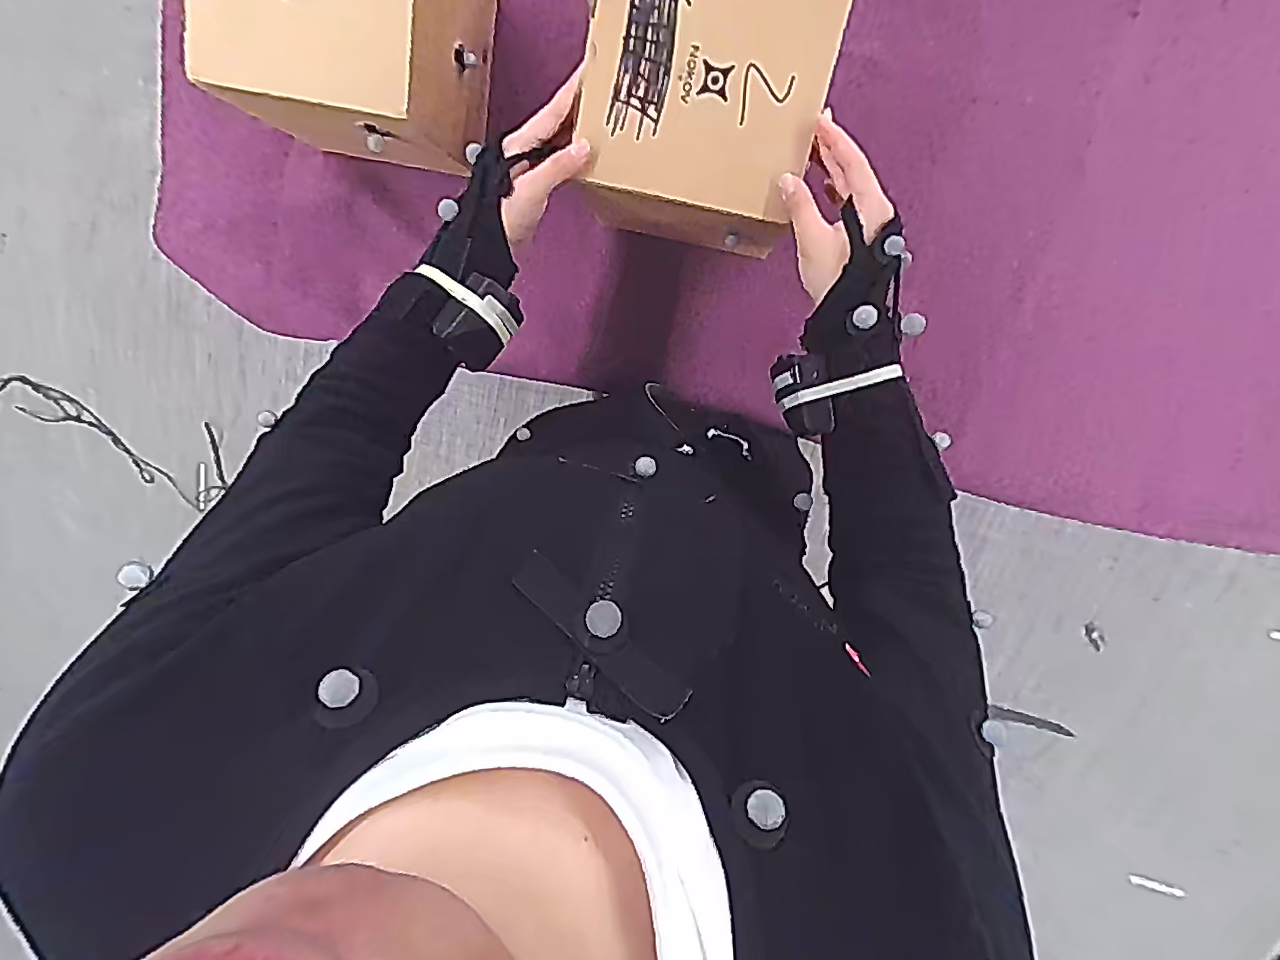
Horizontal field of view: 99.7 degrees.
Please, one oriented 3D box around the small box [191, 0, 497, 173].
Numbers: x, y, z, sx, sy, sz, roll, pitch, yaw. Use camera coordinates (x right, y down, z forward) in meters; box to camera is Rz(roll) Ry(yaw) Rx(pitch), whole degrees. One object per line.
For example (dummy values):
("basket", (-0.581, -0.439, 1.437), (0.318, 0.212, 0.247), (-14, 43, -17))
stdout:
("small box", (-0.237, -0.387, 0.469), (0.179, 0.176, 0.168), (11, 105, 1))
